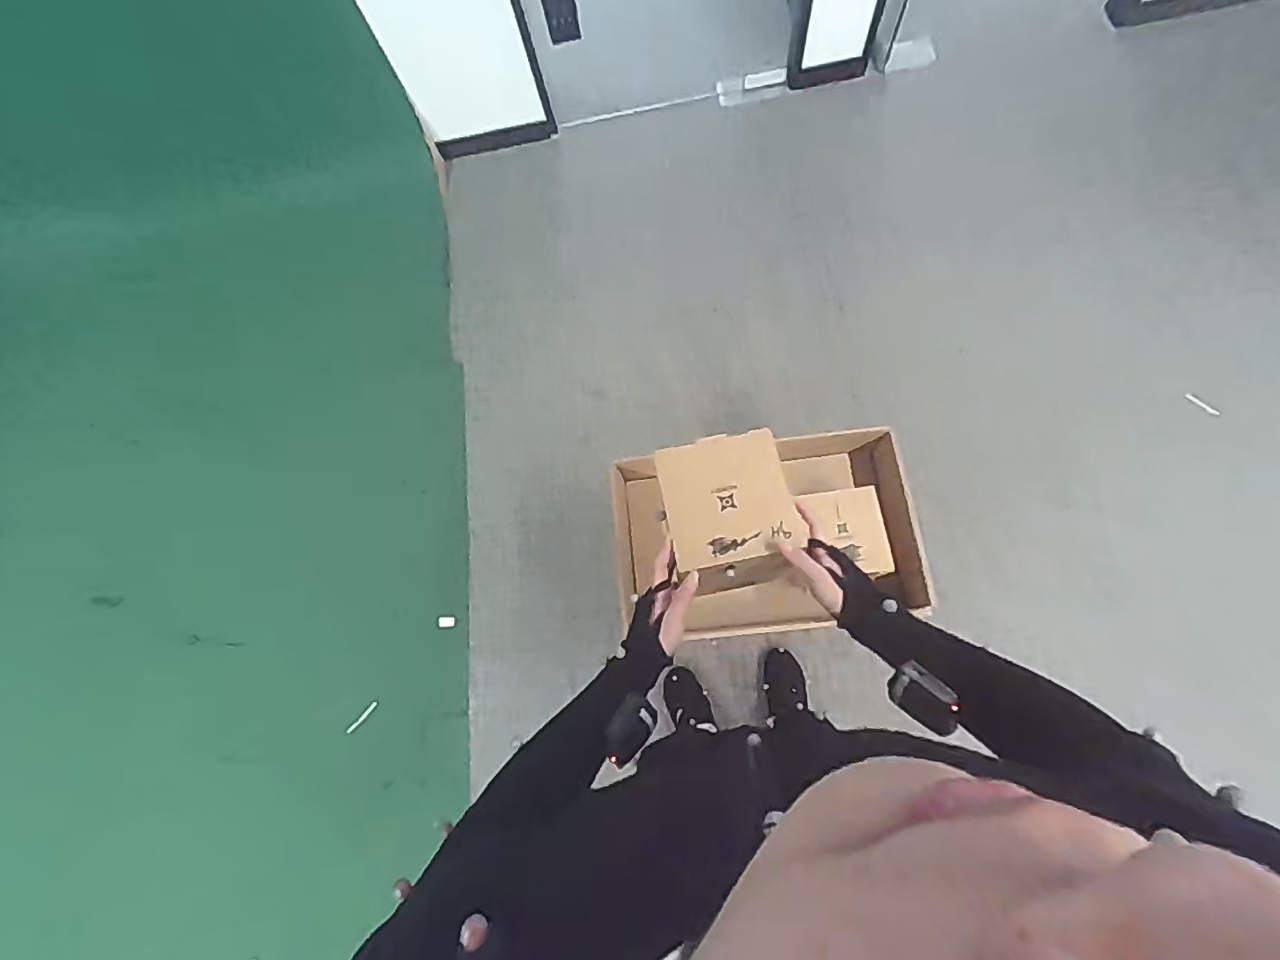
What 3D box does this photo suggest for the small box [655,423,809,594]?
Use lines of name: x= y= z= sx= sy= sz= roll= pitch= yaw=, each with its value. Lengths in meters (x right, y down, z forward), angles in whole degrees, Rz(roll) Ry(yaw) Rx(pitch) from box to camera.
small box: x=0.118 y=0.046 z=0.762 sx=0.168 sy=0.176 sz=0.179 roll=-11 pitch=66 yaw=0
